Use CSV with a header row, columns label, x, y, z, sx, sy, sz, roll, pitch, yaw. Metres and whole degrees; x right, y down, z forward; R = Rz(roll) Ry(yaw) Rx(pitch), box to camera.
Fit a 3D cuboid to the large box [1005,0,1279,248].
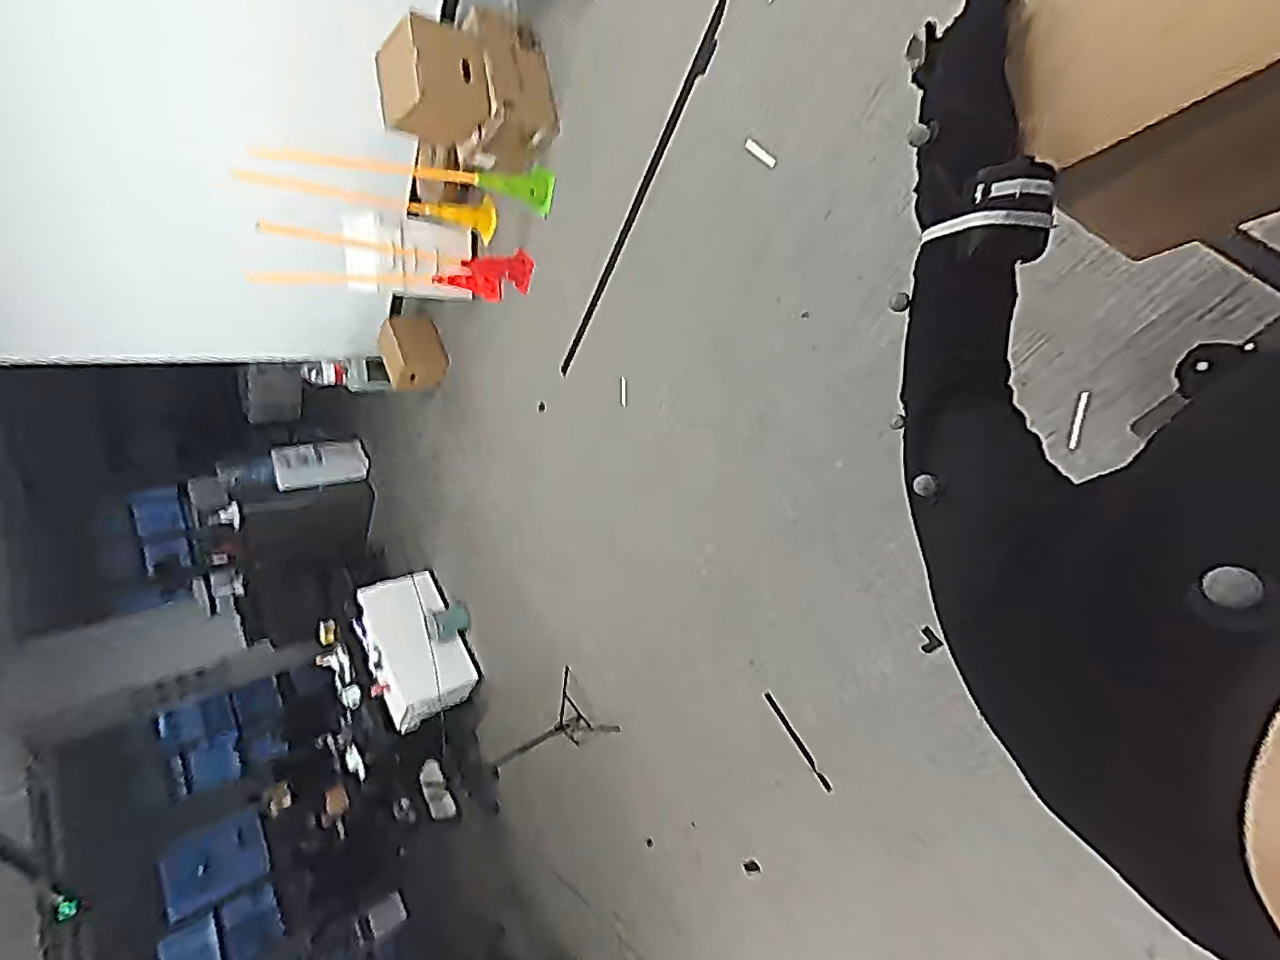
label,x,y,z,sx,sy,sz,roll,pitch,yaw
large box,0.522,-0.422,0.360,0.408,0.320,0.320,-14,82,53
